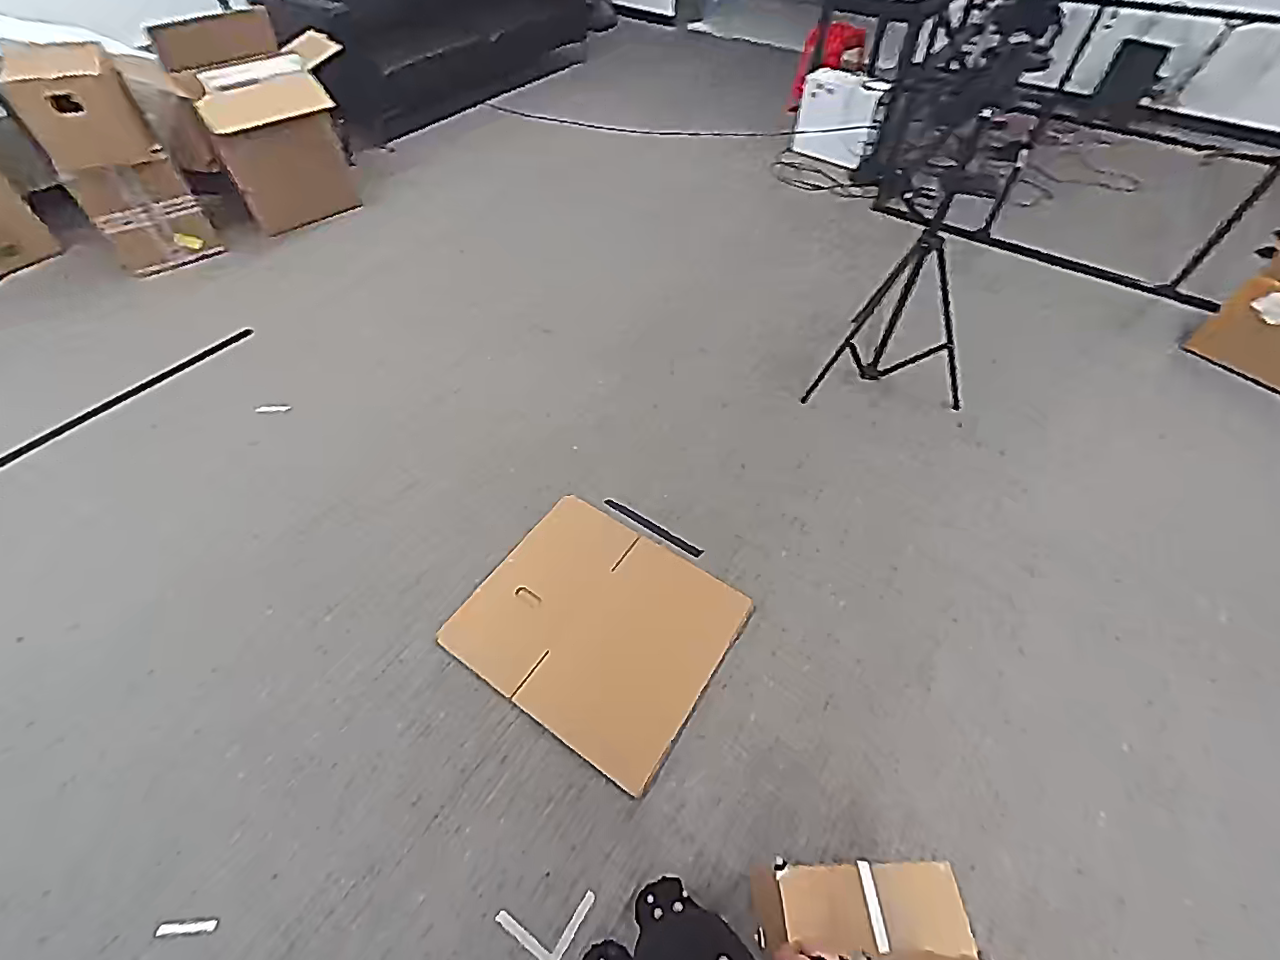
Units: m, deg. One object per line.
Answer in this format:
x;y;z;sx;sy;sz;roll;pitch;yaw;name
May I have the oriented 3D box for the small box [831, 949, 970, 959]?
0.386;0.785;0.762;0.168;0.176;0.179;-4;54;-2;small box
